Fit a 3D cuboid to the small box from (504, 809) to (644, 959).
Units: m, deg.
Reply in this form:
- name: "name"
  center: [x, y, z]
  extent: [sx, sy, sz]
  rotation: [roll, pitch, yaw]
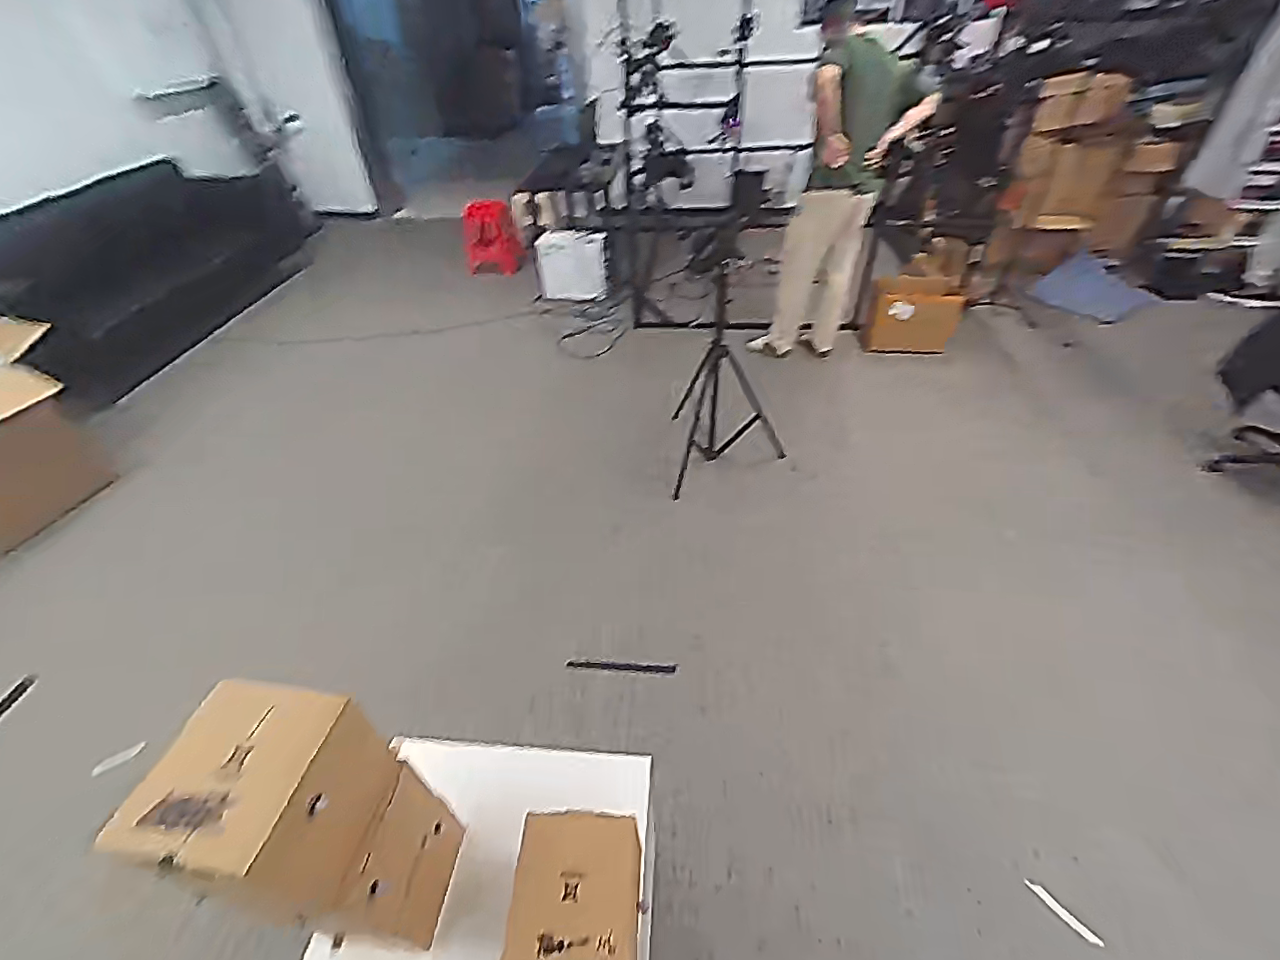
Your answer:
- name: "small box"
  center: [-0.083, 0.611, 0.791]
  extent: [0.168, 0.176, 0.179]
  rotation: [-1, 42, 5]

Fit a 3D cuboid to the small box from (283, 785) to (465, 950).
- name: "small box"
  center: [-0.389, 0.593, 0.831]
  extent: [0.168, 0.176, 0.179]
  rotation: [3, 42, 6]

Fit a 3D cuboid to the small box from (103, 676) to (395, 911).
- name: "small box"
  center: [-0.408, 0.352, 0.608]
  extent: [0.168, 0.176, 0.179]
  rotation: [5, 41, 8]
